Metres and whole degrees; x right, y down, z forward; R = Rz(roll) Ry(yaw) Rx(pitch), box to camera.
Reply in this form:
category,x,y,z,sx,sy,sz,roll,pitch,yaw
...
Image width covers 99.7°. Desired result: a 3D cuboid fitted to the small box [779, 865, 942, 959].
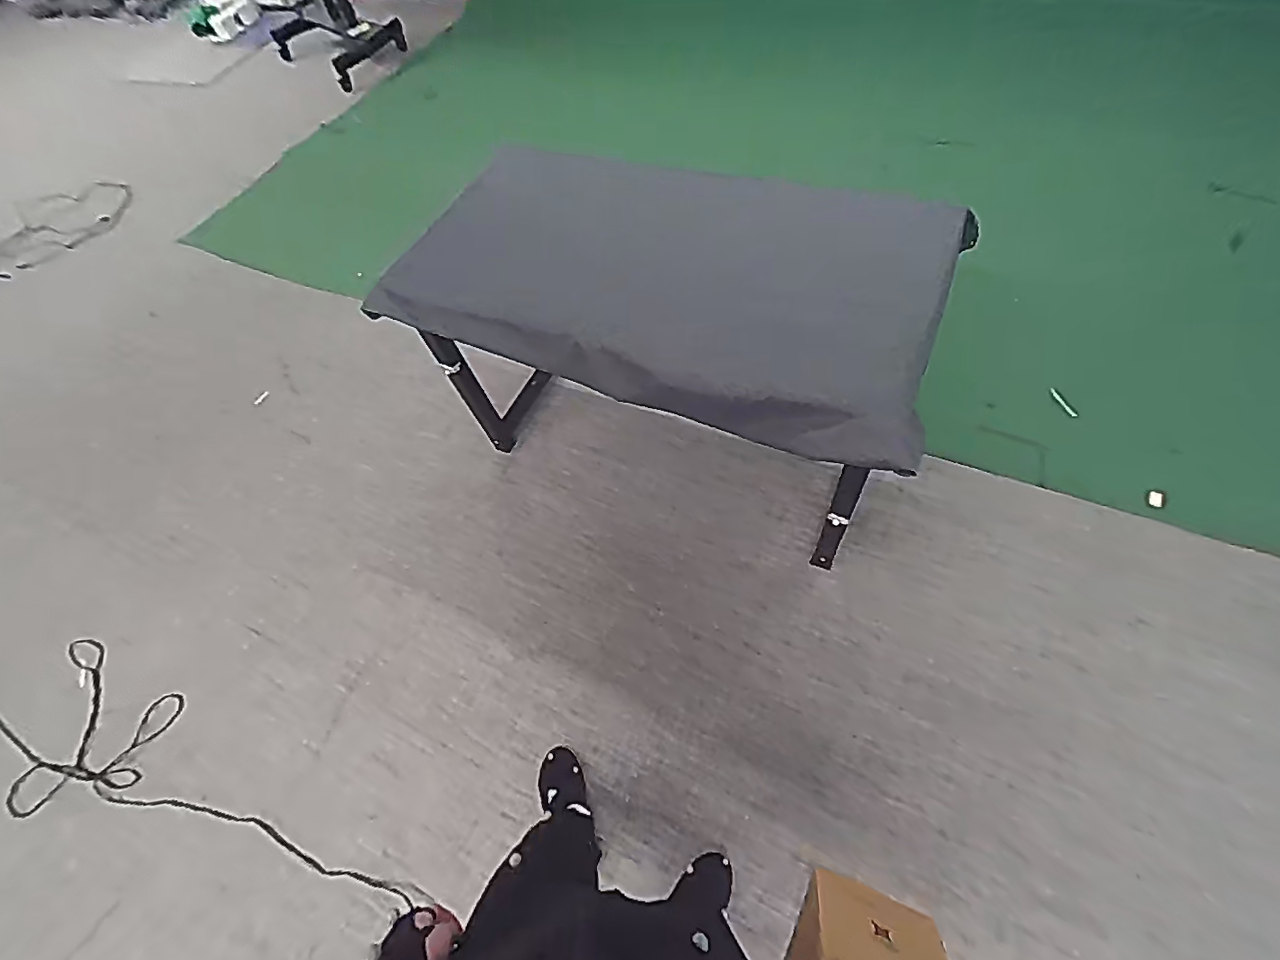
category,x,y,z,sx,sy,sz,roll,pitch,yaw
small box,0.271,0.649,0.676,0.168,0.179,0.176,19,89,16
